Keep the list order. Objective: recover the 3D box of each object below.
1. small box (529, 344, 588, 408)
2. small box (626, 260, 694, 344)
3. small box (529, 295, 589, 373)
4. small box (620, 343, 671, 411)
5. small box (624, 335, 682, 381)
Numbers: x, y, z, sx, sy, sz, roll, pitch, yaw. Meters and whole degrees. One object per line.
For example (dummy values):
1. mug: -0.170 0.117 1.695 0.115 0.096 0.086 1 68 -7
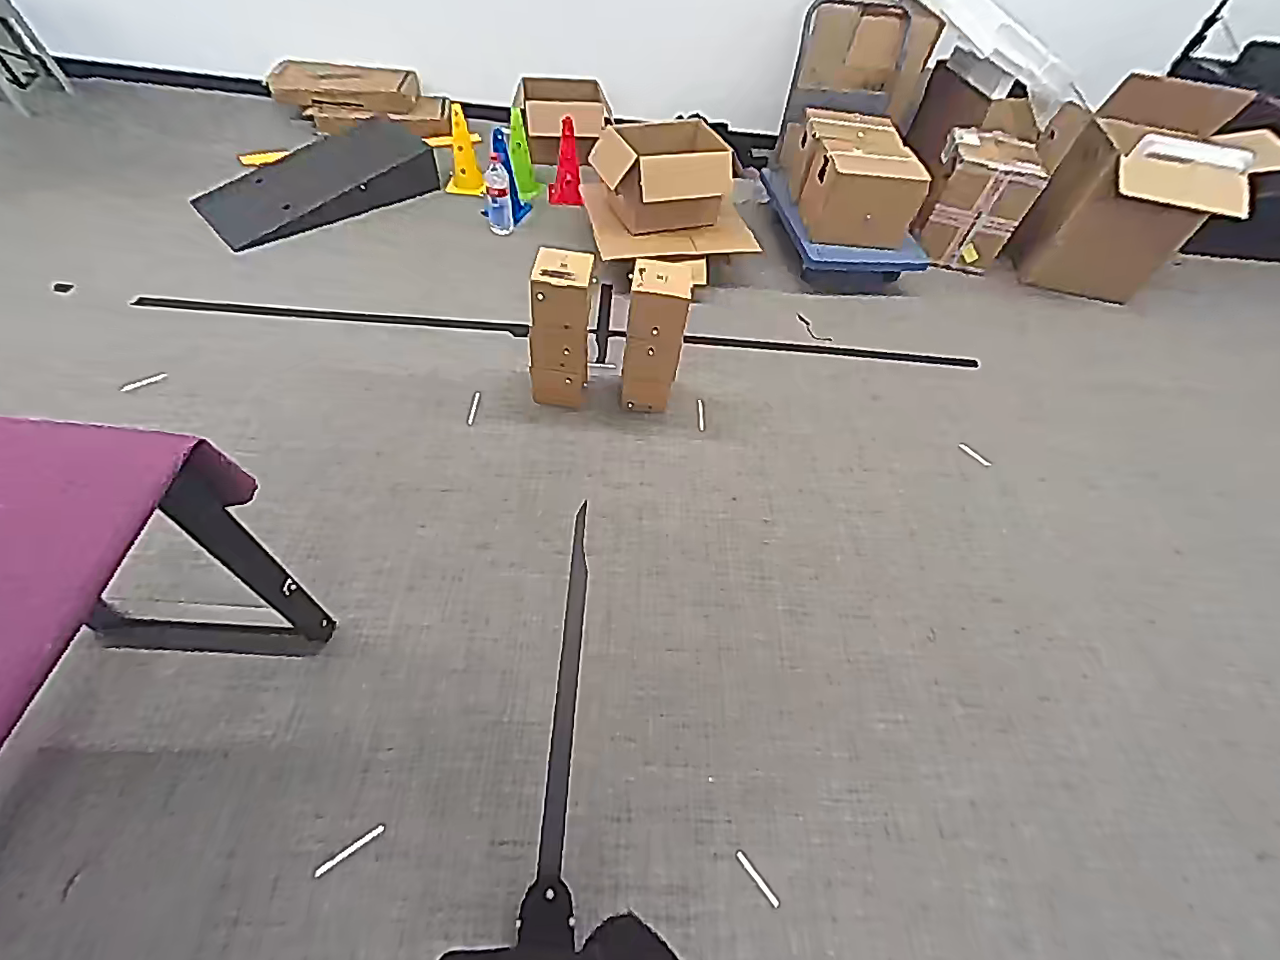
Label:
1. small box: -0.282 -0.373 1.897 0.179 0.176 0.168 8 53 -1
2. small box: 0.058 -0.539 1.652 0.179 0.176 0.168 9 54 -2
3. small box: -0.262 -0.474 1.772 0.168 0.176 0.179 8 52 -3
4. small box: 0.020 -0.363 1.927 0.168 0.176 0.179 4 53 -5
5. small box: 0.042 -0.446 1.785 0.179 0.176 0.168 6 54 -4
